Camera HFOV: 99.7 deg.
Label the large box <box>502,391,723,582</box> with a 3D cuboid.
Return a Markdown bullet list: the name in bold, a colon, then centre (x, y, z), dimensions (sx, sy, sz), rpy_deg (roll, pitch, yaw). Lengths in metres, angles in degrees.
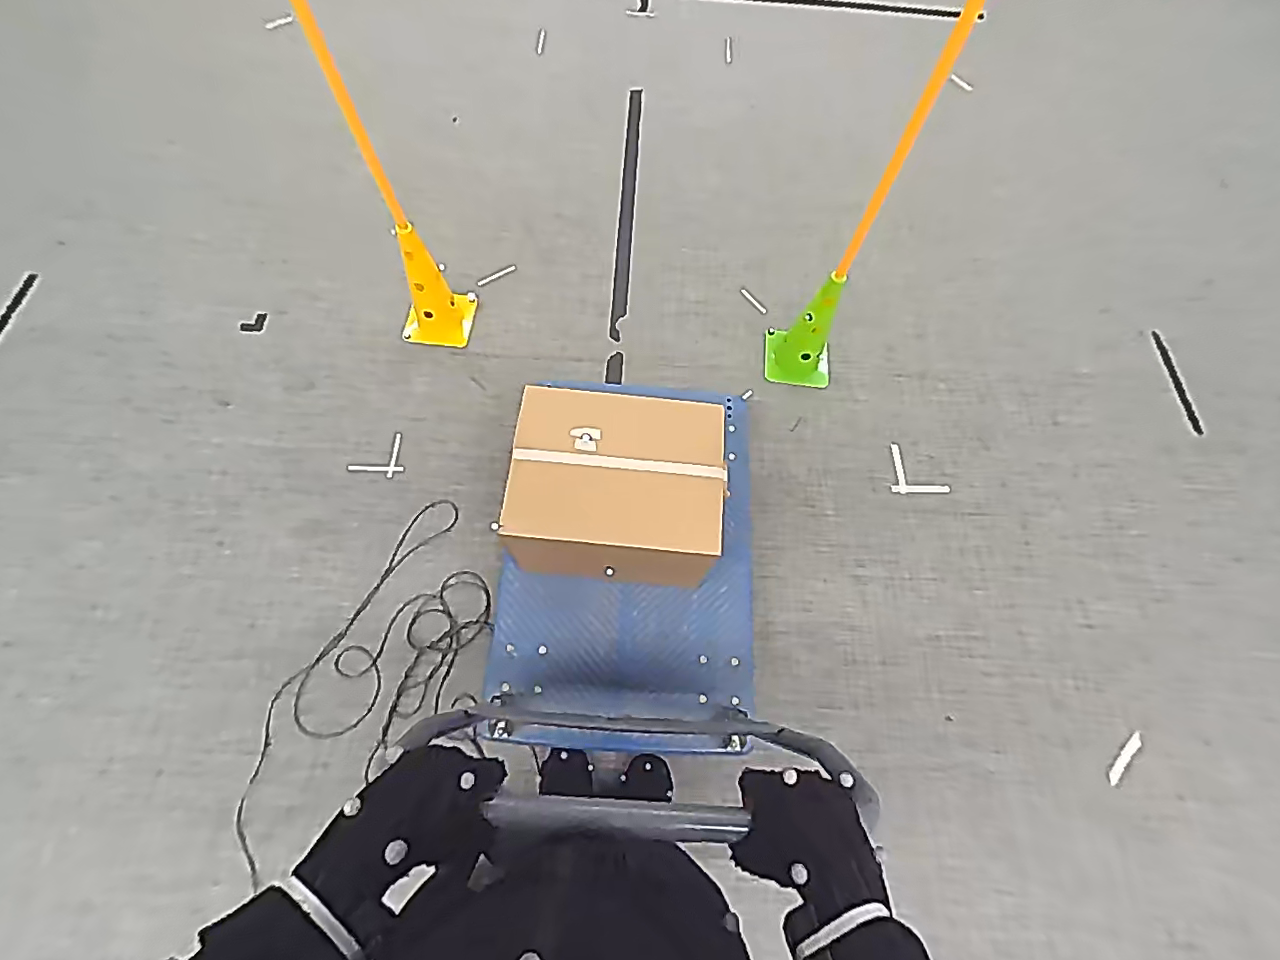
- **large box**: centre (-0.044, 0.031, 1.171), dimensions (0.408, 0.320, 0.320), rpy_deg (6, 67, 0)

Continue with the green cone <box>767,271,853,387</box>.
- **green cone**: centre (0.516, -0.457, 1.564), dimensions (0.202, 0.368, 0.200), rpy_deg (7, 67, -1)
